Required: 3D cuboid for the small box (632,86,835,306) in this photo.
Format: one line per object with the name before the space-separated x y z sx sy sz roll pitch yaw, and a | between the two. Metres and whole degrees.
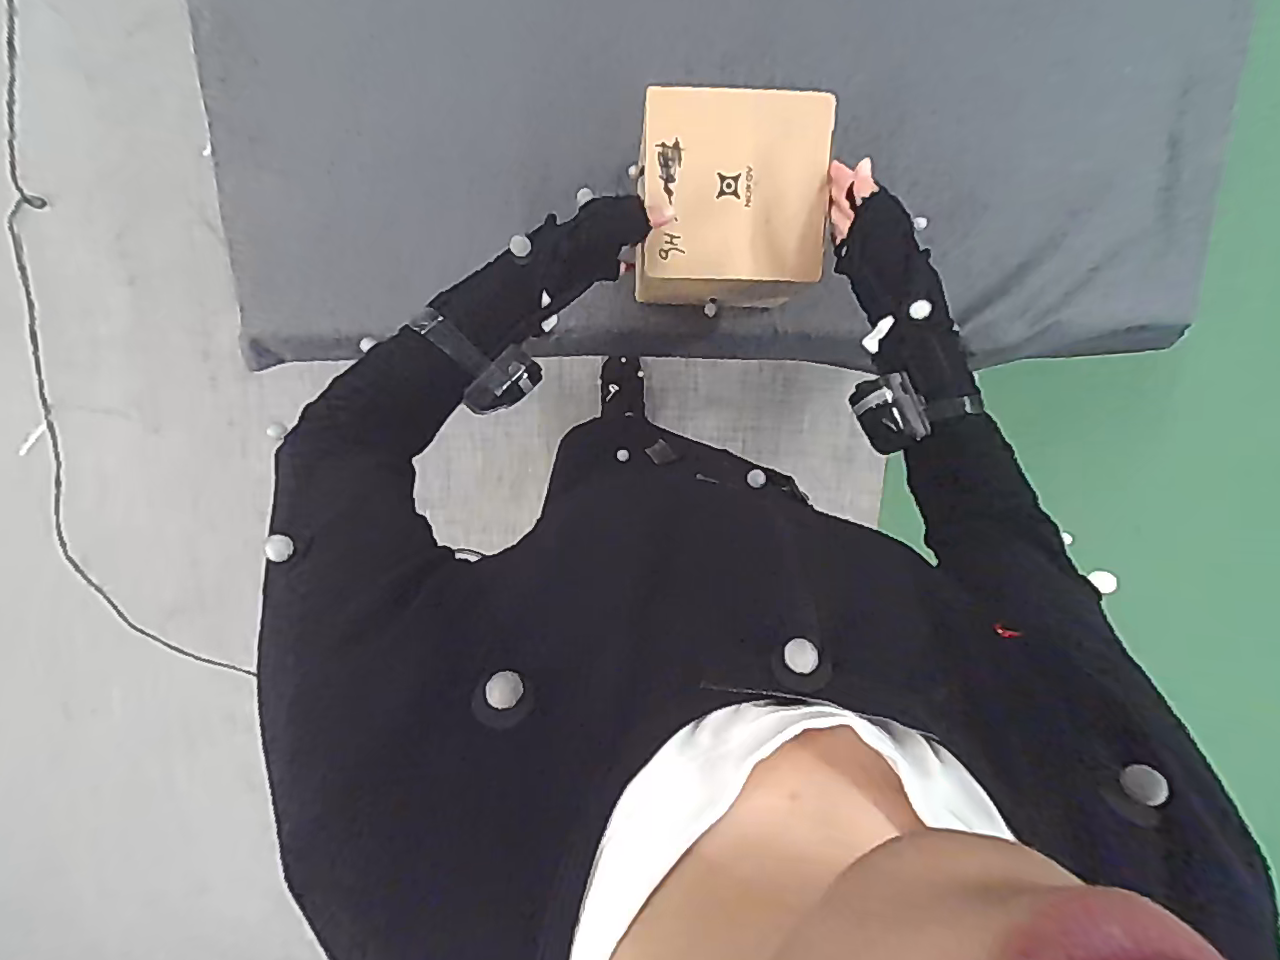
small box | 0.086 -0.286 0.585 0.179 0.176 0.168 1 100 -4
